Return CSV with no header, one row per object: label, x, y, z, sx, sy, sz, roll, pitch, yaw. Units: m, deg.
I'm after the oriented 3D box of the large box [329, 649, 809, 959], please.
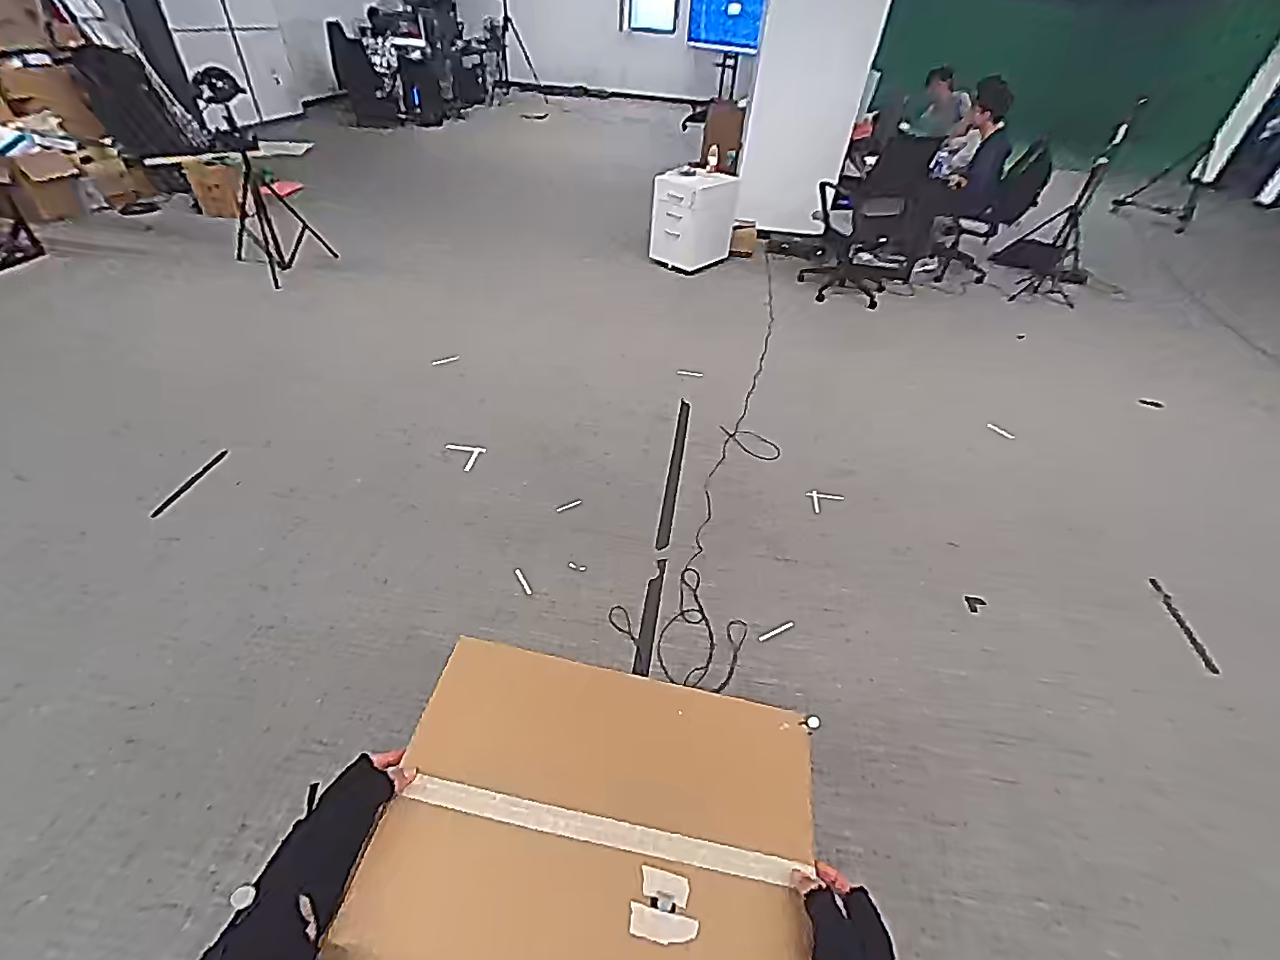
large box,-0.056,0.443,0.622,0.408,0.320,0.320,12,45,2
